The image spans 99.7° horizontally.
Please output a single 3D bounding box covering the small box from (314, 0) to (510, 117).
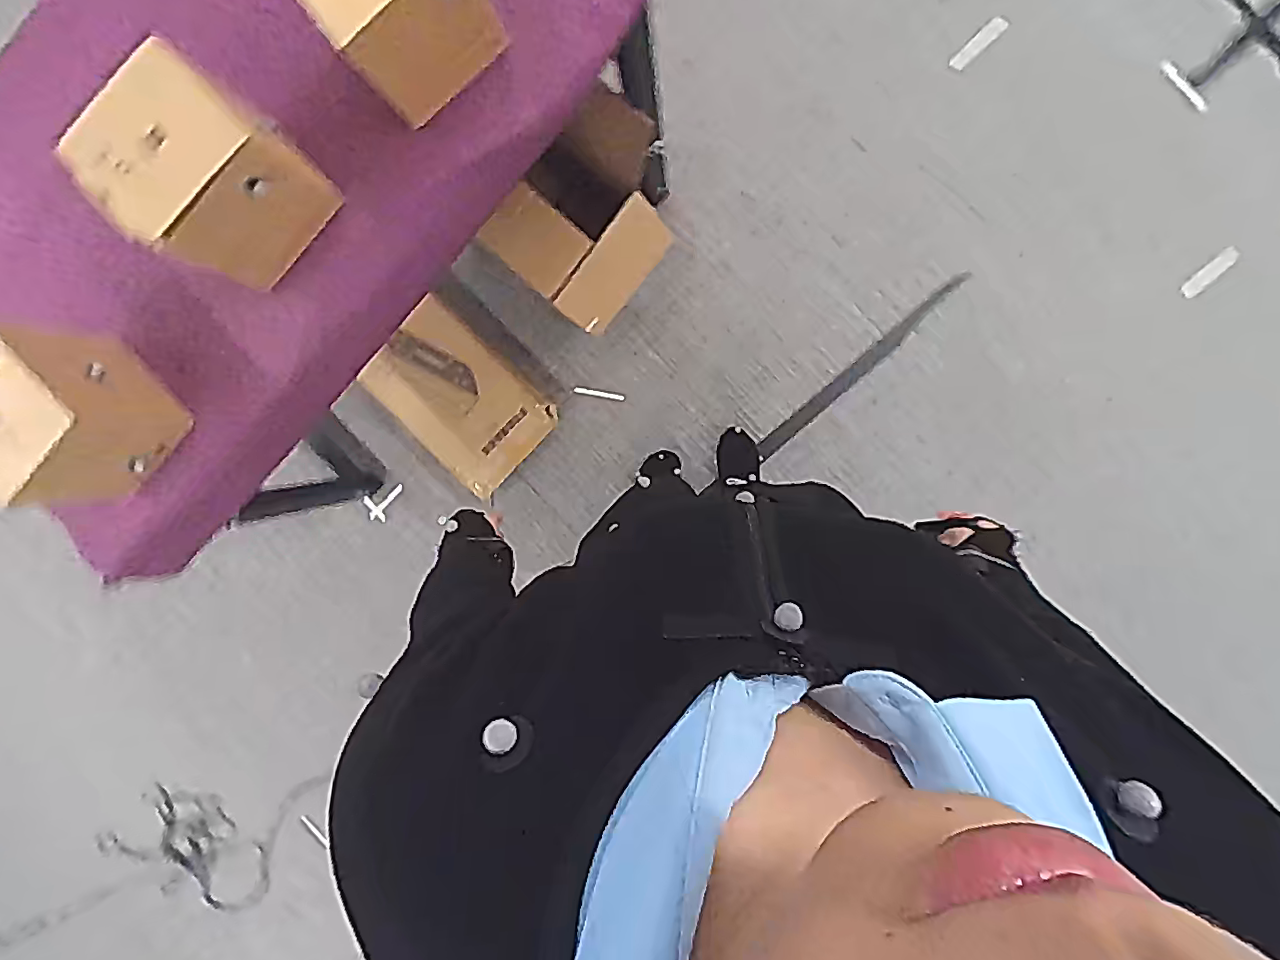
[{"bbox_3d":[-0.288,-0.593,0.648,0.179,0.176,0.168,-37,91,7],"label":"small box"}]

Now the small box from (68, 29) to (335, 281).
[{"bbox_3d":[-0.532,-0.391,0.687,0.179,0.176,0.168,-44,88,7],"label":"small box"}]
